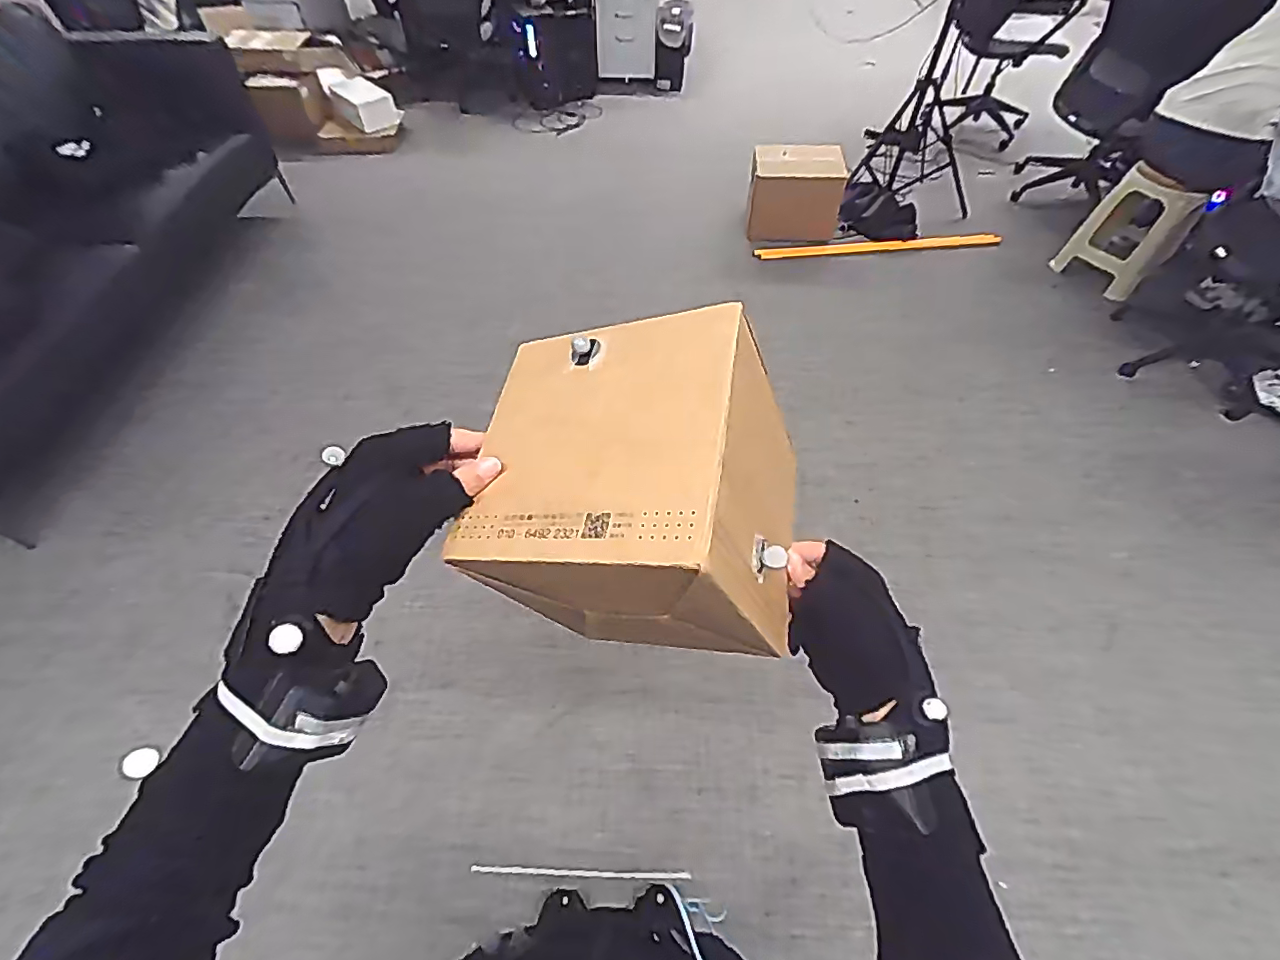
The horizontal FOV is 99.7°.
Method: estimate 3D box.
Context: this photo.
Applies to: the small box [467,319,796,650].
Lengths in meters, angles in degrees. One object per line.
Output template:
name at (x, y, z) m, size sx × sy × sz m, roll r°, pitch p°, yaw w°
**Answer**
small box at (0.008, 0.020, 0.389) m, size 0.168 × 0.179 × 0.176 m, roll -4°, pitch 58°, yaw 27°
